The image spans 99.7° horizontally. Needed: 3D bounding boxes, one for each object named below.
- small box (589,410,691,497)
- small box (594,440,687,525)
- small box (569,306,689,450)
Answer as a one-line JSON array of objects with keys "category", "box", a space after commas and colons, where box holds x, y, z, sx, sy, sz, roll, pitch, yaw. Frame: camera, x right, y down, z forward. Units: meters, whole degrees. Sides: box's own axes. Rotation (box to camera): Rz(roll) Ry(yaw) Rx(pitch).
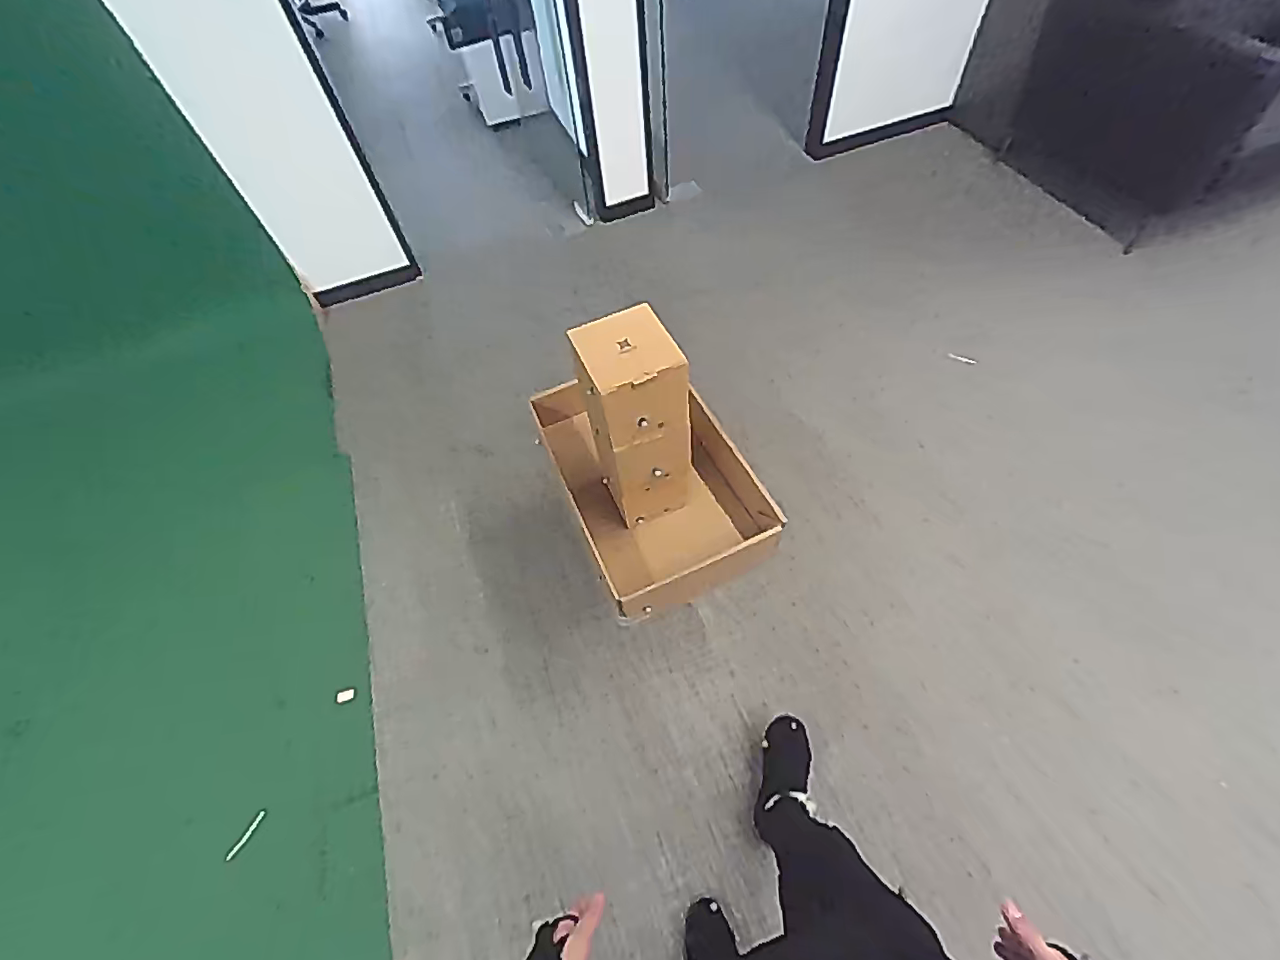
[{"category": "small box", "box": [-0.002, -0.096, 1.152, 0.168, 0.176, 0.179, -23, 58, -9]}, {"category": "small box", "box": [0.006, -0.014, 1.295, 0.168, 0.176, 0.179, -22, 56, -9]}, {"category": "small box", "box": [-0.019, -0.188, 1.019, 0.168, 0.176, 0.179, -23, 58, -10]}]
